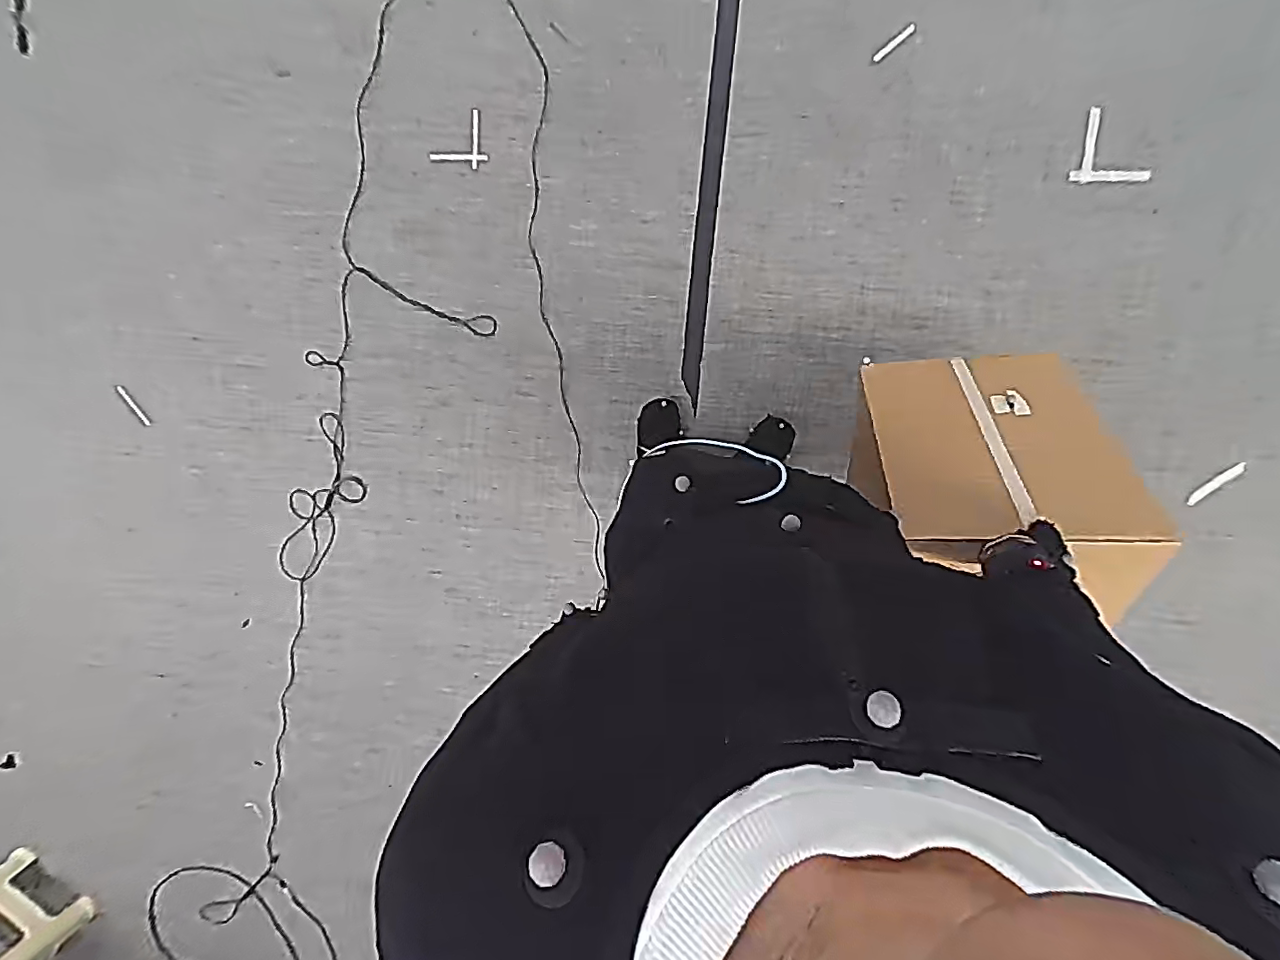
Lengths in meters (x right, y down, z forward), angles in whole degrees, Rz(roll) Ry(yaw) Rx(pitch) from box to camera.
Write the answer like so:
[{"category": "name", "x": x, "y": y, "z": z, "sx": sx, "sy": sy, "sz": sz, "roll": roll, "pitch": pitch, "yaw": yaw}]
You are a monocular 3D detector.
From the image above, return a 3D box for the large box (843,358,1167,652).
[{"category": "large box", "x": 0.544, "y": 0.040, "z": 0.925, "sx": 0.320, "sy": 0.408, "sz": 0.320, "roll": -1, "pitch": 134, "yaw": 12}]
